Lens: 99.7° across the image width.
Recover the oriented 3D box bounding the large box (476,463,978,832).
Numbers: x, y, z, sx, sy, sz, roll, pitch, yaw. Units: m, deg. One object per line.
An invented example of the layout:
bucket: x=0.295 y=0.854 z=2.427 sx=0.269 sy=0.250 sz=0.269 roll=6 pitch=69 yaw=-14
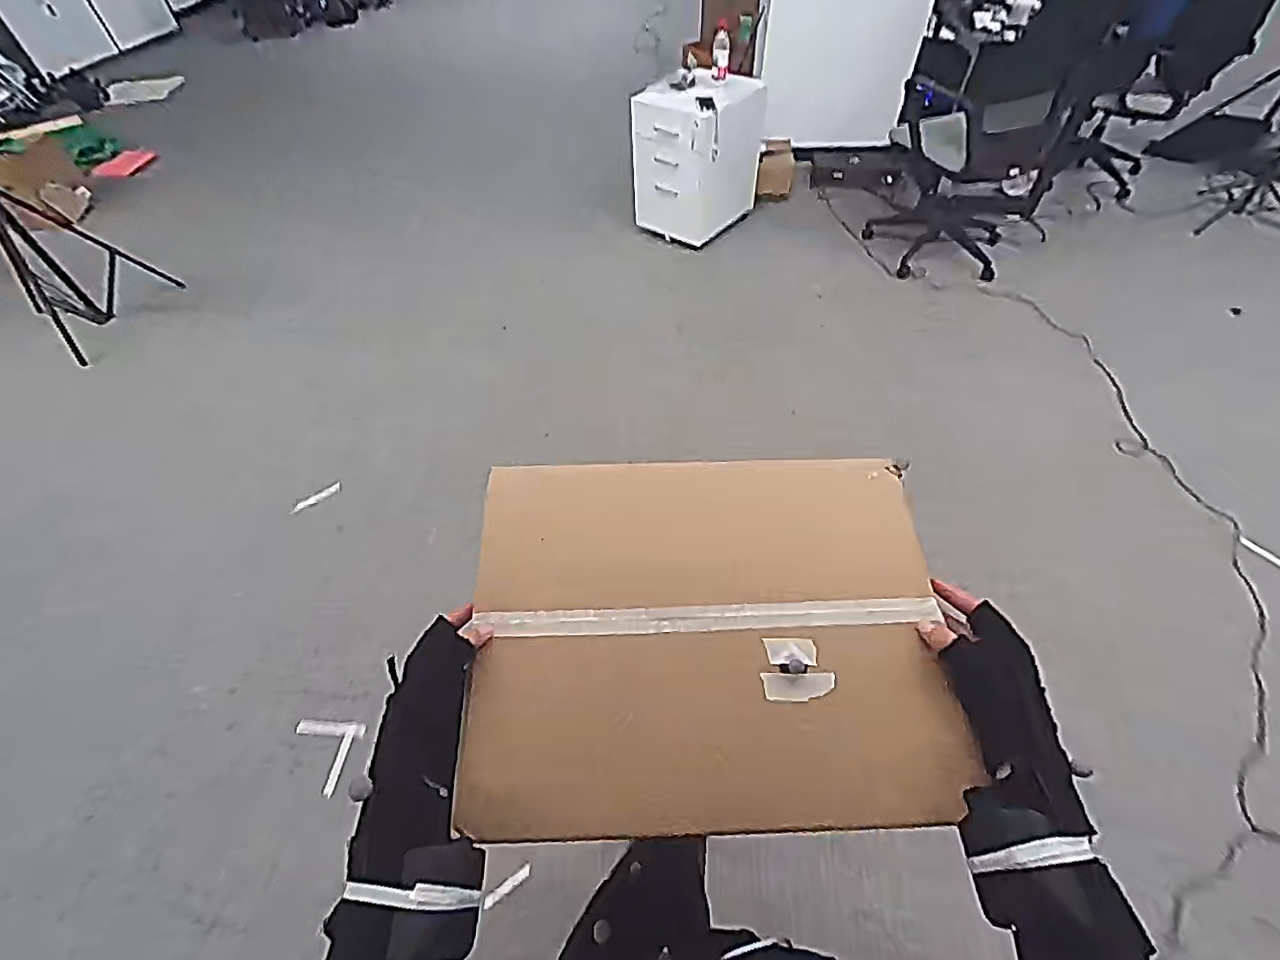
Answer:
large box: x=0.060 y=0.195 z=0.618 sx=0.408 sy=0.320 sz=0.320 roll=-2 pitch=62 yaw=-2
